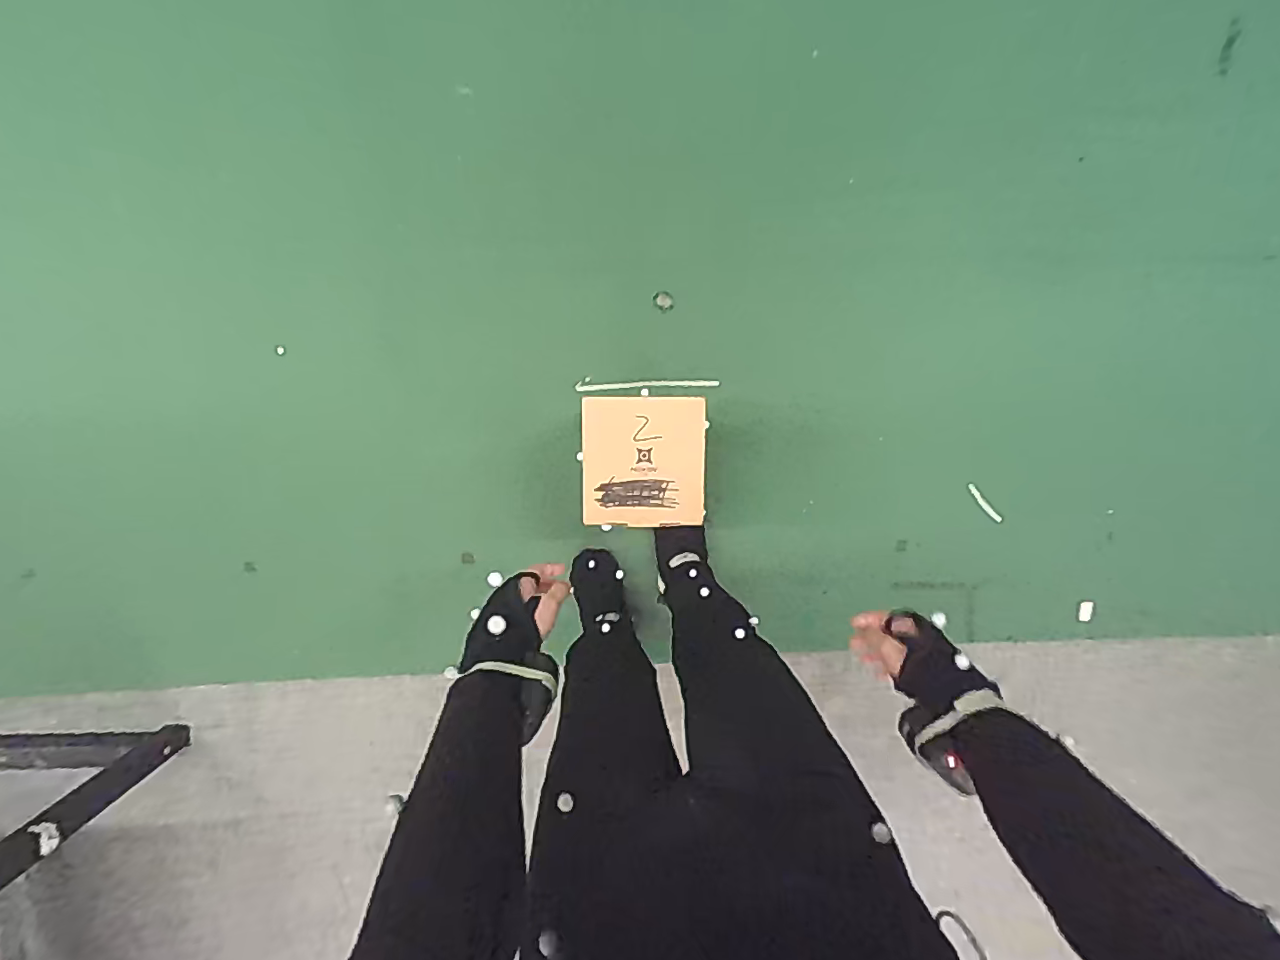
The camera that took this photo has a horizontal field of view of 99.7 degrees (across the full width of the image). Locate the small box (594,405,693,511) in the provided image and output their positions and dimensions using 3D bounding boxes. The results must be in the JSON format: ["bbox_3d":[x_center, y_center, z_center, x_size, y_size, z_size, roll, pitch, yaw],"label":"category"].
[{"bbox_3d":[0.004,-0.045,0.970,0.168,0.176,0.179,0,98,0],"label":"small box"}]
